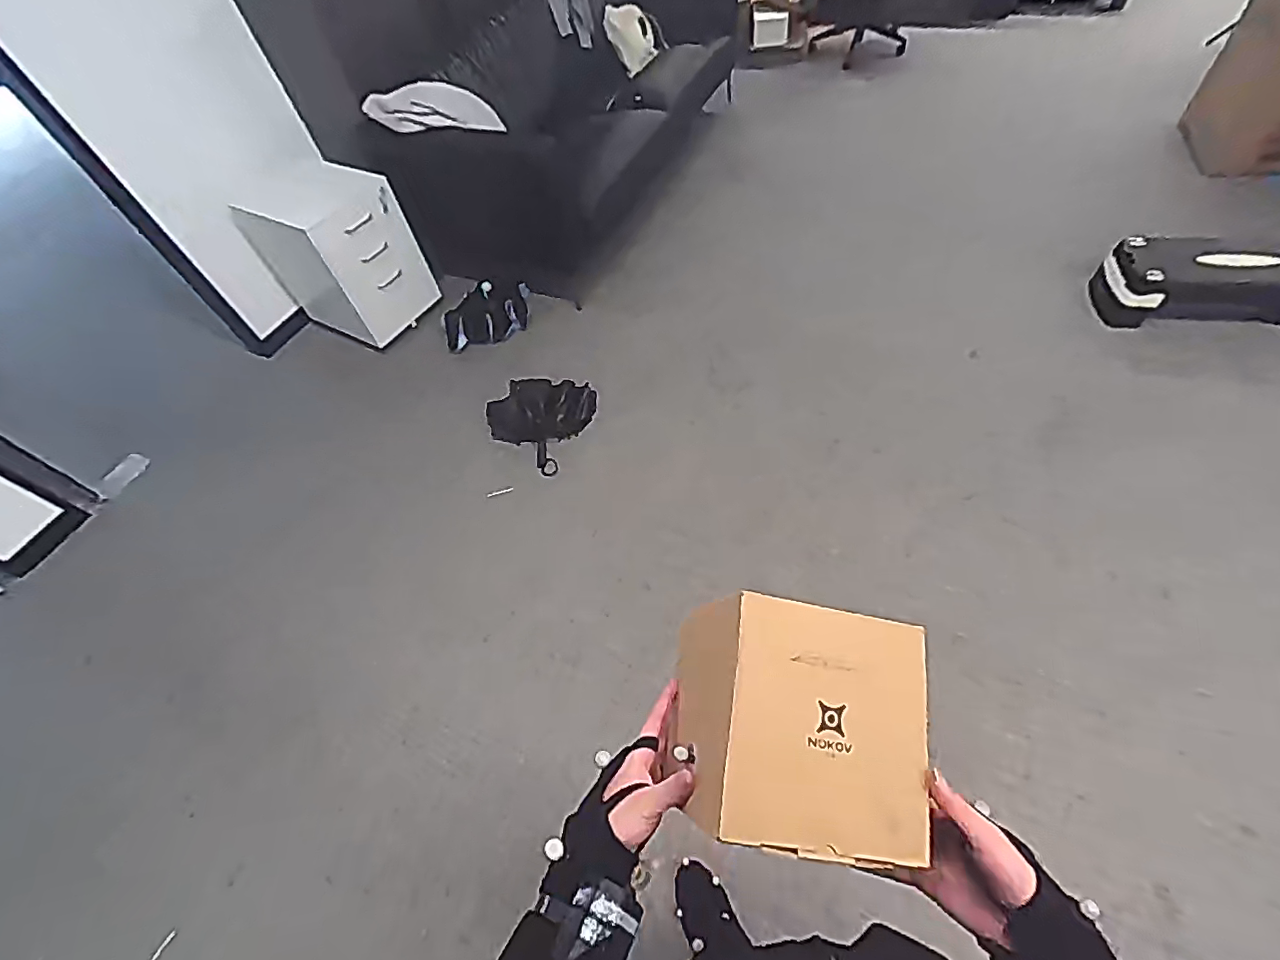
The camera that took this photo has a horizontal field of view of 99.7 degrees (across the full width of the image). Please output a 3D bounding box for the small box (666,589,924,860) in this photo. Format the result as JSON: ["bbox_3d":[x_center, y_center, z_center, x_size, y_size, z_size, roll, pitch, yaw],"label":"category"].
[{"bbox_3d":[0.129,0.210,0.493,0.168,0.176,0.179,13,69,-10],"label":"small box"}]
